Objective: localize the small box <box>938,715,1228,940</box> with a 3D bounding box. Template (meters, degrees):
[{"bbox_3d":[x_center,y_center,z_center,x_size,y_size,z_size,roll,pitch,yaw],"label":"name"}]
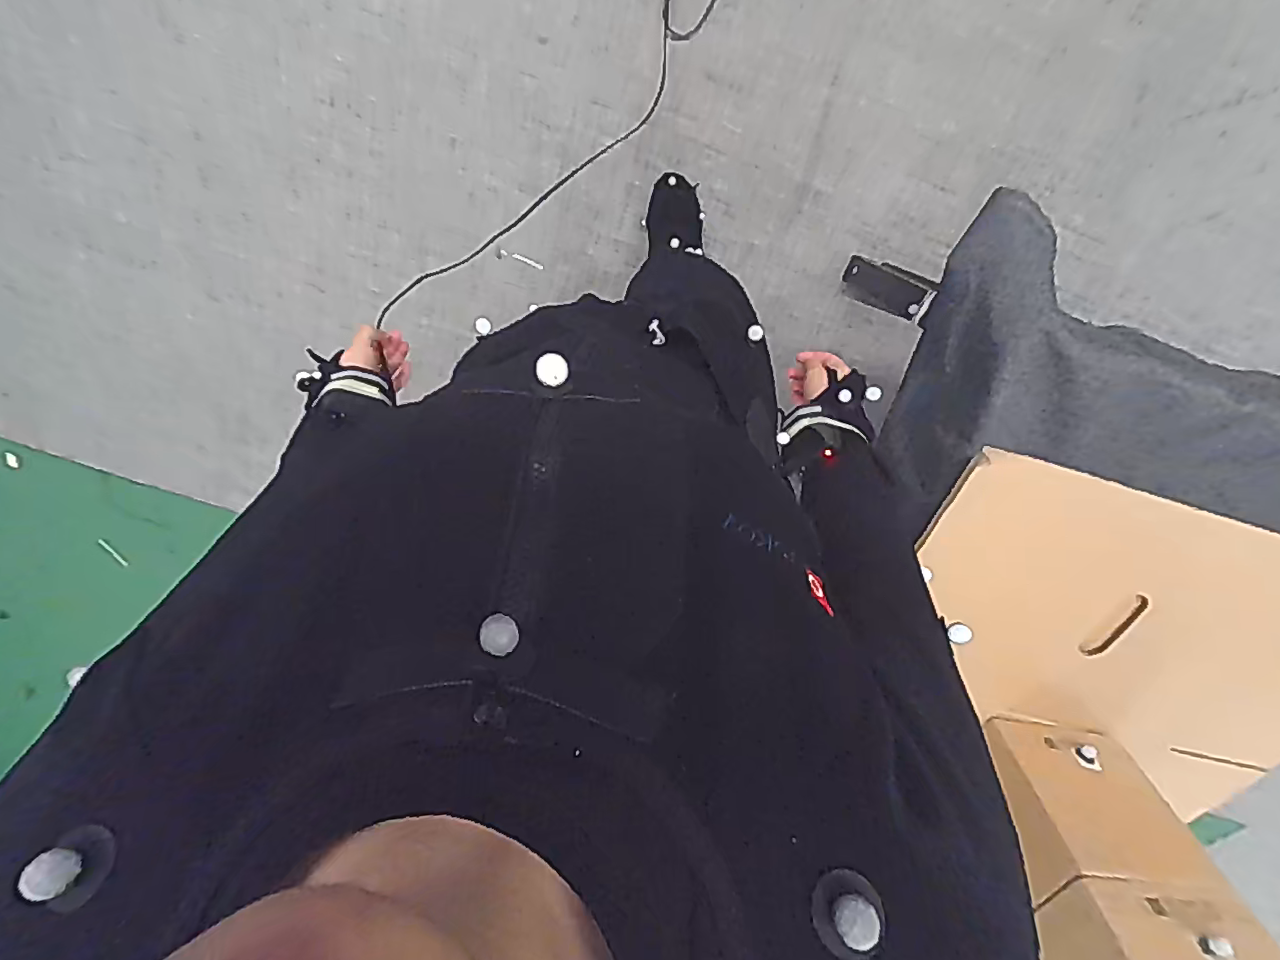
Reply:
[{"bbox_3d":[0.487,0.411,0.636,0.168,0.176,0.179,8,121,-5],"label":"small box"}]

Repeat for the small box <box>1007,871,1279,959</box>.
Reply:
[{"bbox_3d":[0.486,0.498,0.497,0.168,0.176,0.179,8,121,-4],"label":"small box"}]
